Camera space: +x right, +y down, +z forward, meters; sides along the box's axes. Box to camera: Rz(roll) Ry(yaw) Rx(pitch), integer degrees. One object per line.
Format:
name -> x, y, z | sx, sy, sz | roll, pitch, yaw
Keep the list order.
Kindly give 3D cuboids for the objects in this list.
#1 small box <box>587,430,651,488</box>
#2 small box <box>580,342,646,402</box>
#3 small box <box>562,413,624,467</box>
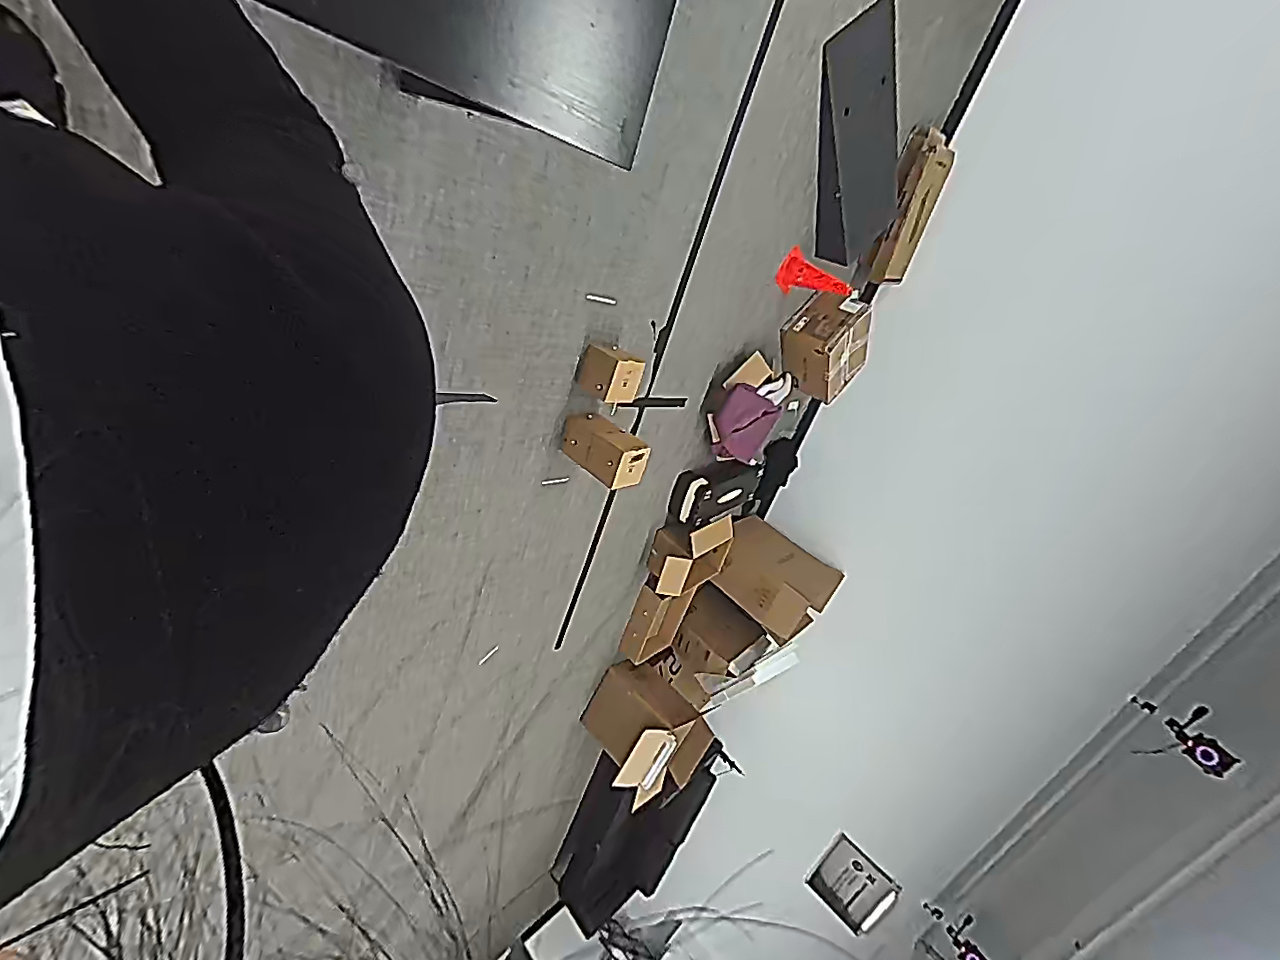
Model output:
small box -> -0.088, -0.092, 2.170 | 0.168, 0.176, 0.179 | -13, 132, -47
small box -> -0.112, -0.423, 2.129 | 0.168, 0.176, 0.179 | -9, 128, -50
small box -> -0.202, -0.172, 2.261 | 0.179, 0.176, 0.168 | -13, 130, -47
